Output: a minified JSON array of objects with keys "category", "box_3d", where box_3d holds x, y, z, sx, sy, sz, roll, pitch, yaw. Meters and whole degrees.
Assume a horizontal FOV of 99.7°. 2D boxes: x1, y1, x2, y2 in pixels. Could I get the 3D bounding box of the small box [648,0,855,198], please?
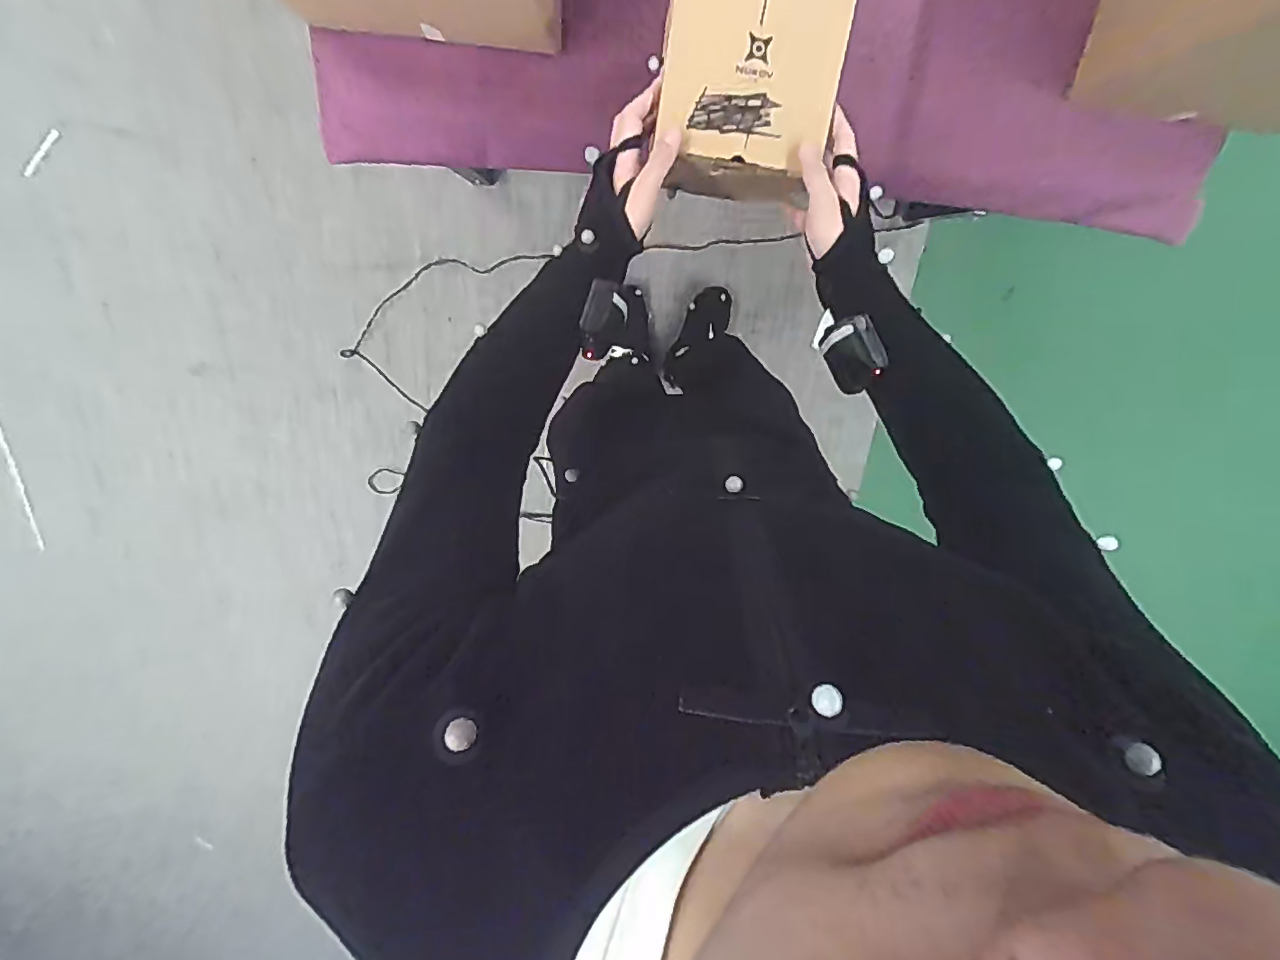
[{"category":"small box","box_3d":[0.101,-0.415,0.570,0.168,0.176,0.179,7,107,-5]}]
